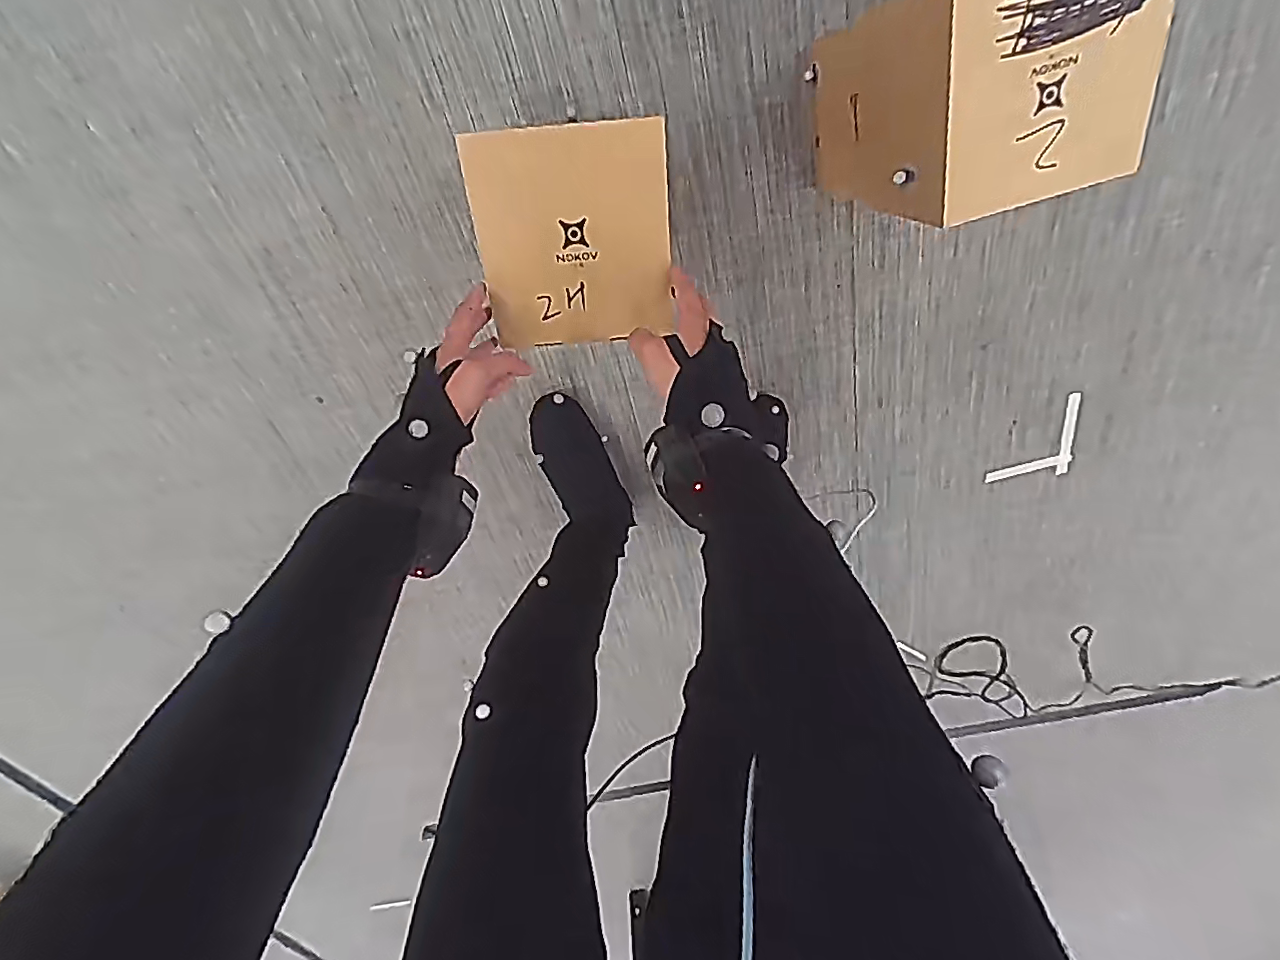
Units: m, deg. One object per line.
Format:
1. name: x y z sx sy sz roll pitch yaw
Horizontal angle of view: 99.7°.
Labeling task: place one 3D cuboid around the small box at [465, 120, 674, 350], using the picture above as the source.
1. small box: -0.057 -0.243 0.533 0.168 0.176 0.179 -4 123 0

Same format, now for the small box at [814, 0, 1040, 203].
1. small box: 0.312 -0.438 0.628 0.179 0.176 0.168 -15 123 4
